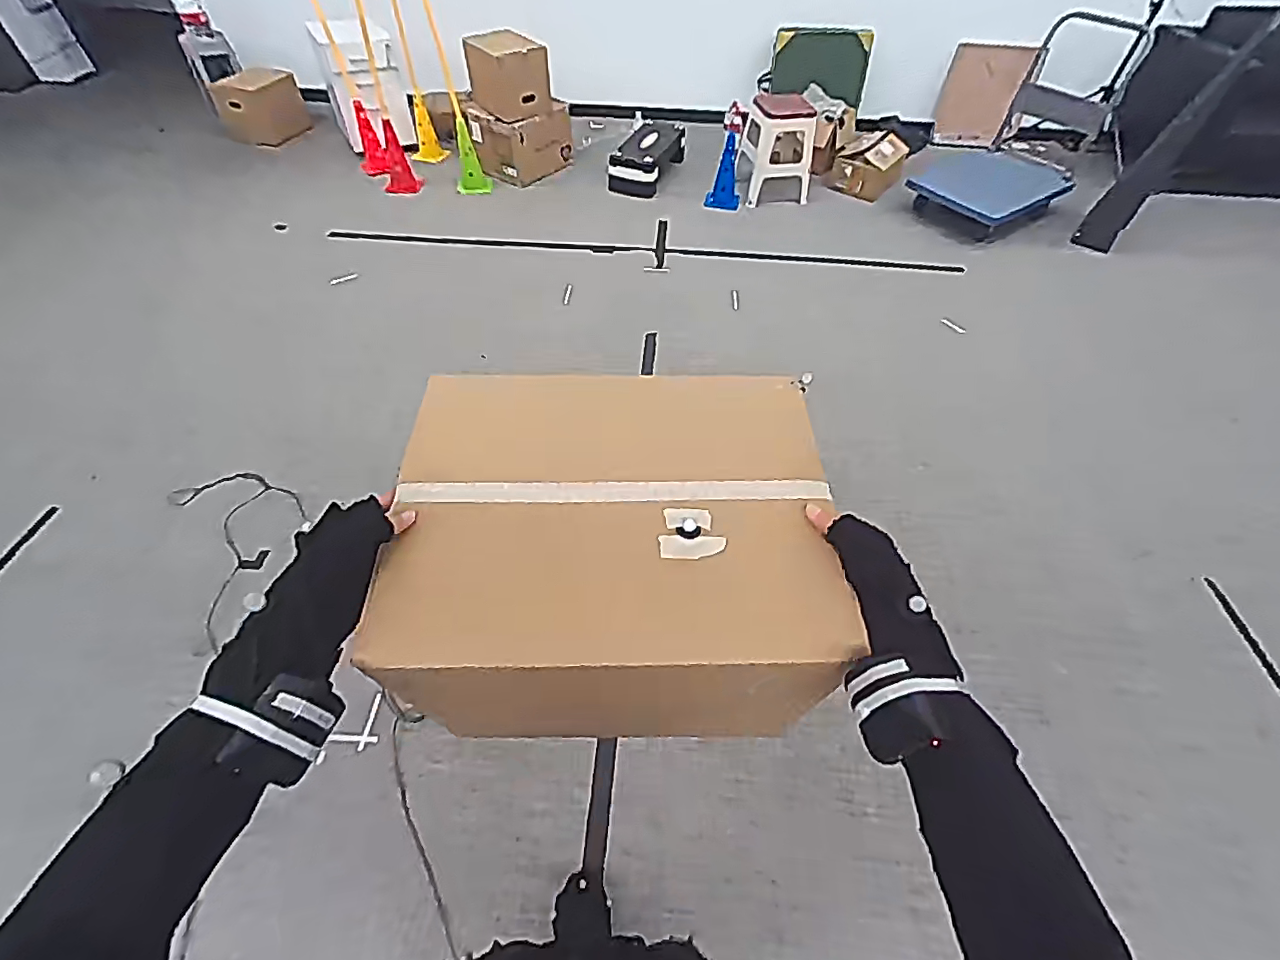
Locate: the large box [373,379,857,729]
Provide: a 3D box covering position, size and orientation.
[{"bbox_3d":[-0.025,0.097,0.642,0.408,0.320,0.320,0,56,-1],"label":"large box"}]
